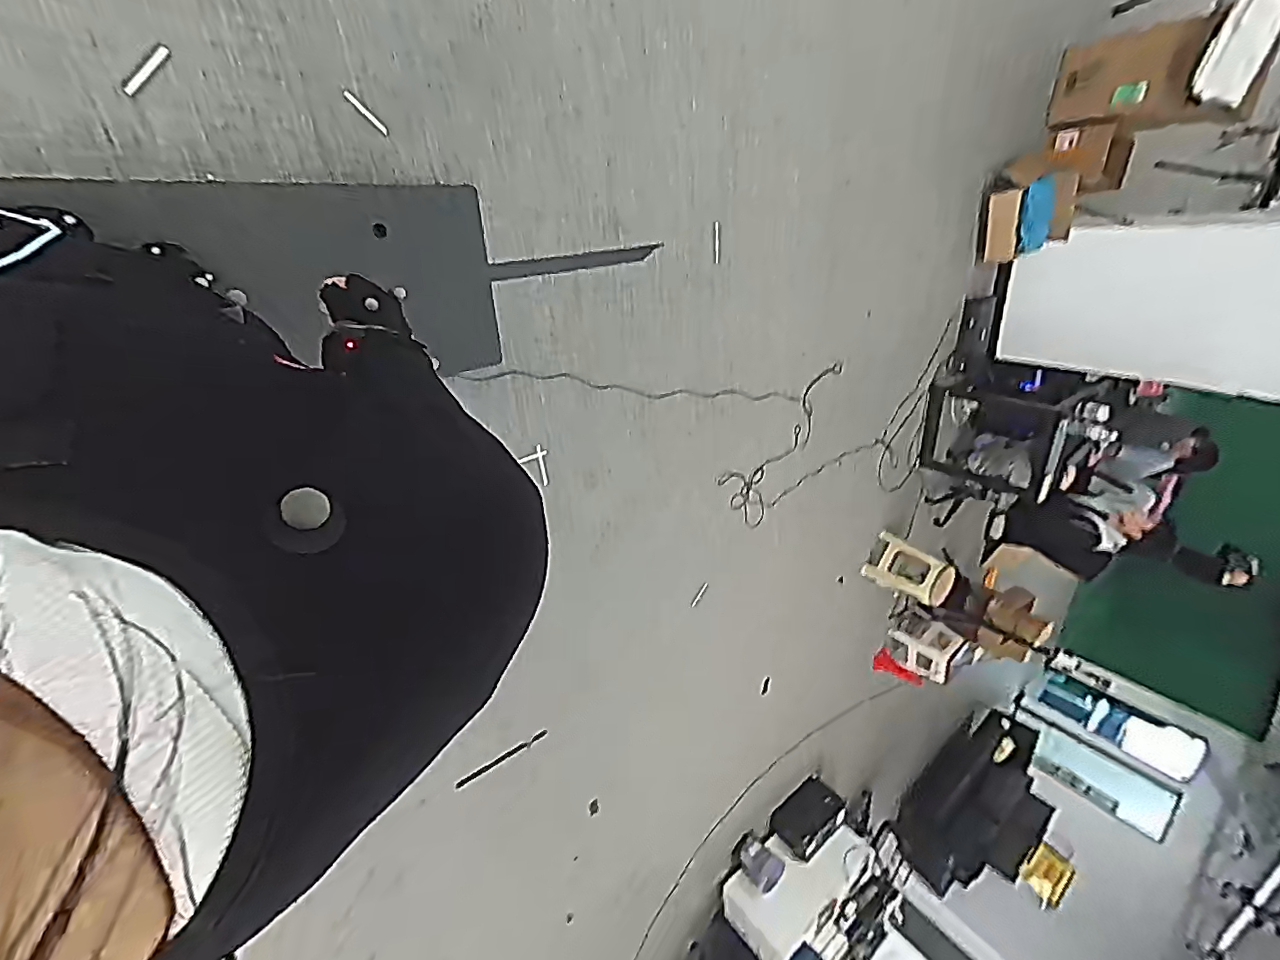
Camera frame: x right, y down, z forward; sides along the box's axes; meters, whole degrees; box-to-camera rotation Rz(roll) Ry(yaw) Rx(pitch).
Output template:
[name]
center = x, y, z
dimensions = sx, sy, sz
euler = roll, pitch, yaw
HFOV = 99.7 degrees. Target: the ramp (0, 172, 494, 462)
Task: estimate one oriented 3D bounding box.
[ramp]
center = -0.798, -0.425, 1.248
dimensions = 0.991, 0.206, 0.509
euler = -23, 121, -32
